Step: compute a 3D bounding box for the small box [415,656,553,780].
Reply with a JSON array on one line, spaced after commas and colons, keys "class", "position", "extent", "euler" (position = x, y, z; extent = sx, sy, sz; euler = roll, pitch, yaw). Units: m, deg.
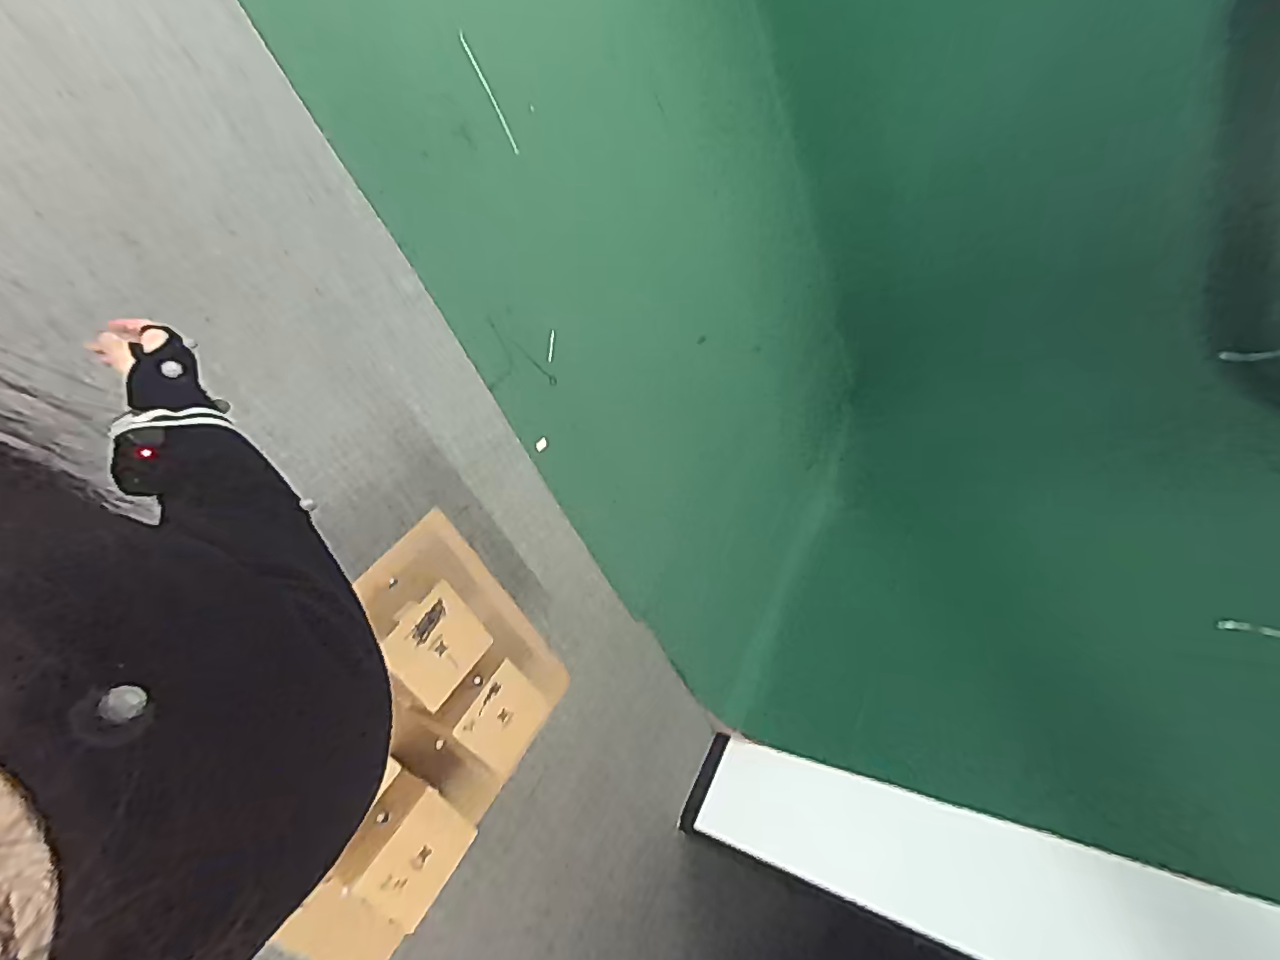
[{"class": "small box", "position": [-0.321, 0.476, 1.119], "extent": [0.168, 0.176, 0.179], "euler": [-54, 128, -37]}]

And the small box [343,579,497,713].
[{"class": "small box", "position": [-0.414, 0.301, 1.018], "extent": [0.168, 0.176, 0.179], "euler": [-51, 125, -38]}]
